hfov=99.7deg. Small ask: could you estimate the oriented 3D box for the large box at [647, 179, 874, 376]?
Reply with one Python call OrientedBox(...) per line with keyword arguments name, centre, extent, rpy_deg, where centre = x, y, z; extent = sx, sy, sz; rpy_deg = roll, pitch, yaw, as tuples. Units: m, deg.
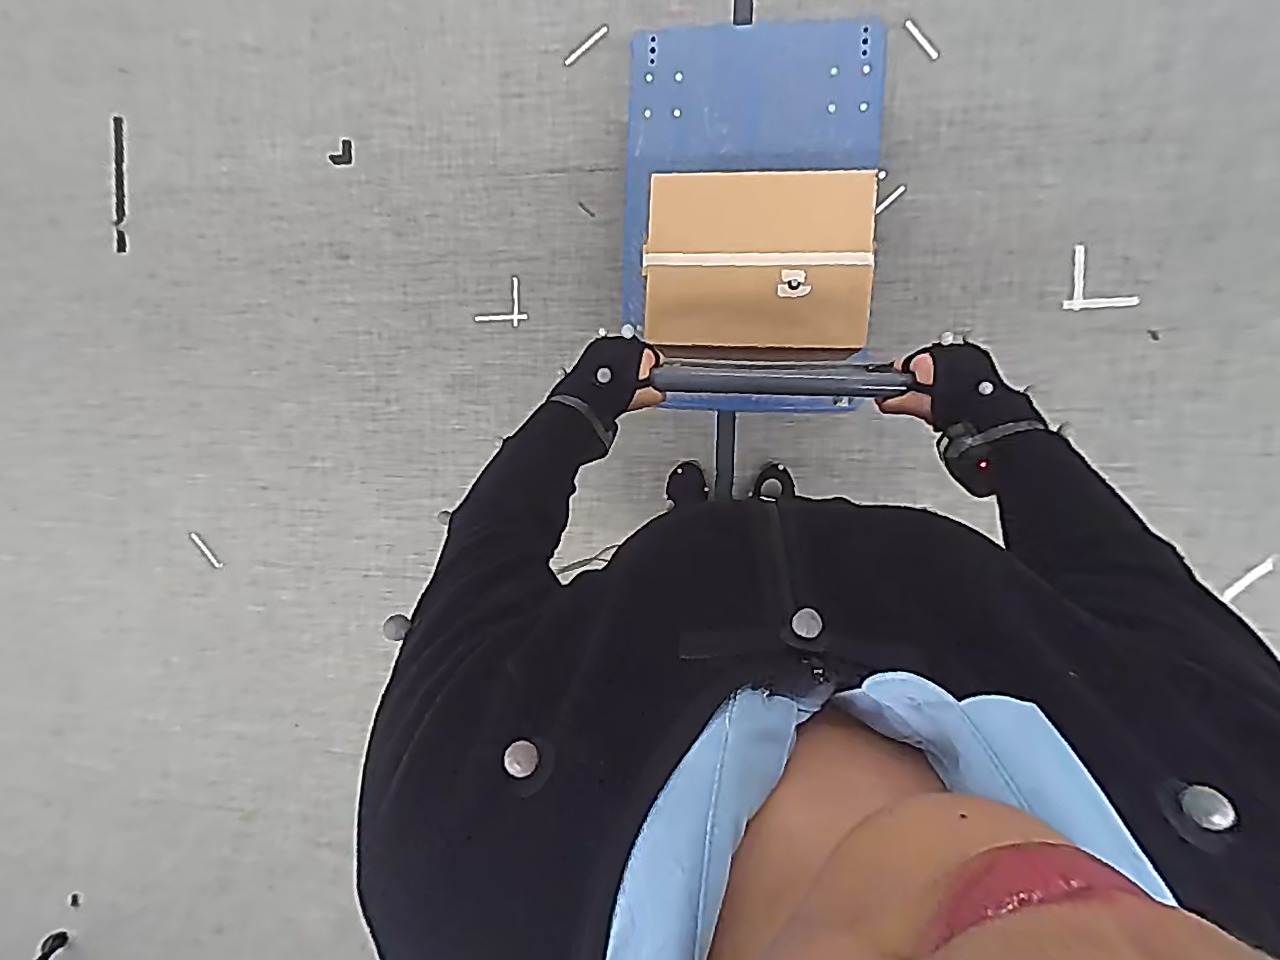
OrientedBox(name="large box", centre=(0.227, -0.393, 1.130), extent=(0.408, 0.320, 0.320), rpy_deg=(2, 95, 6))
